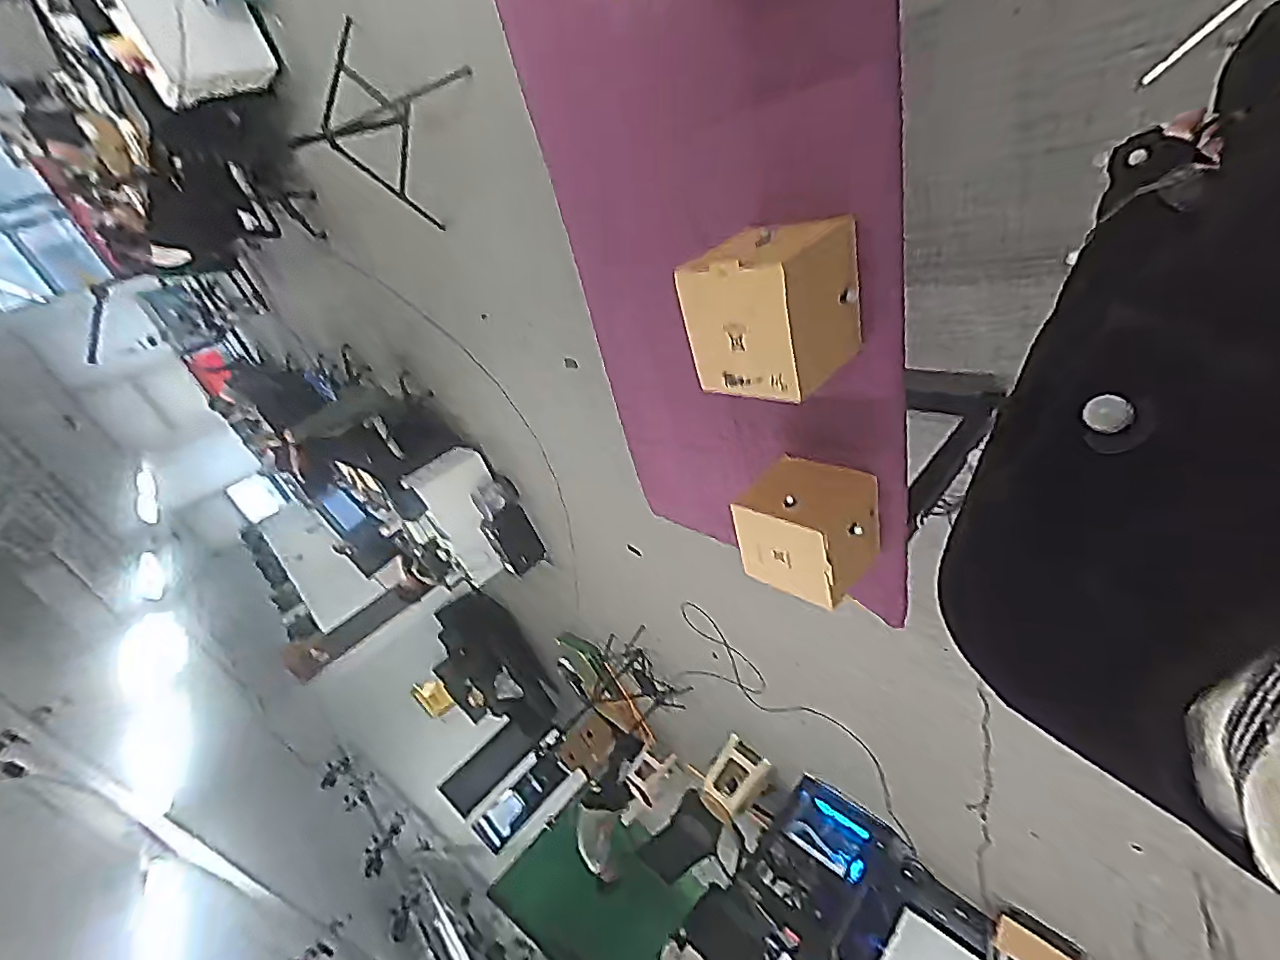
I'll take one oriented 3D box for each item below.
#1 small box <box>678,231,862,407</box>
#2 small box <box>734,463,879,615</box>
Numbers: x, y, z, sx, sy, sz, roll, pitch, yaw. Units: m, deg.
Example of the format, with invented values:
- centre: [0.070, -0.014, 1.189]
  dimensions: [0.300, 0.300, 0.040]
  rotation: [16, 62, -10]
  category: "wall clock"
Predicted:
- centre: [0.180, -0.221, 0.725]
  dimensions: [0.168, 0.176, 0.179]
  rotation: [18, 136, 44]
  category: "small box"
- centre: [0.290, 0.089, 0.920]
  dimensions: [0.179, 0.176, 0.168]
  rotation: [19, 136, 45]
  category: "small box"
